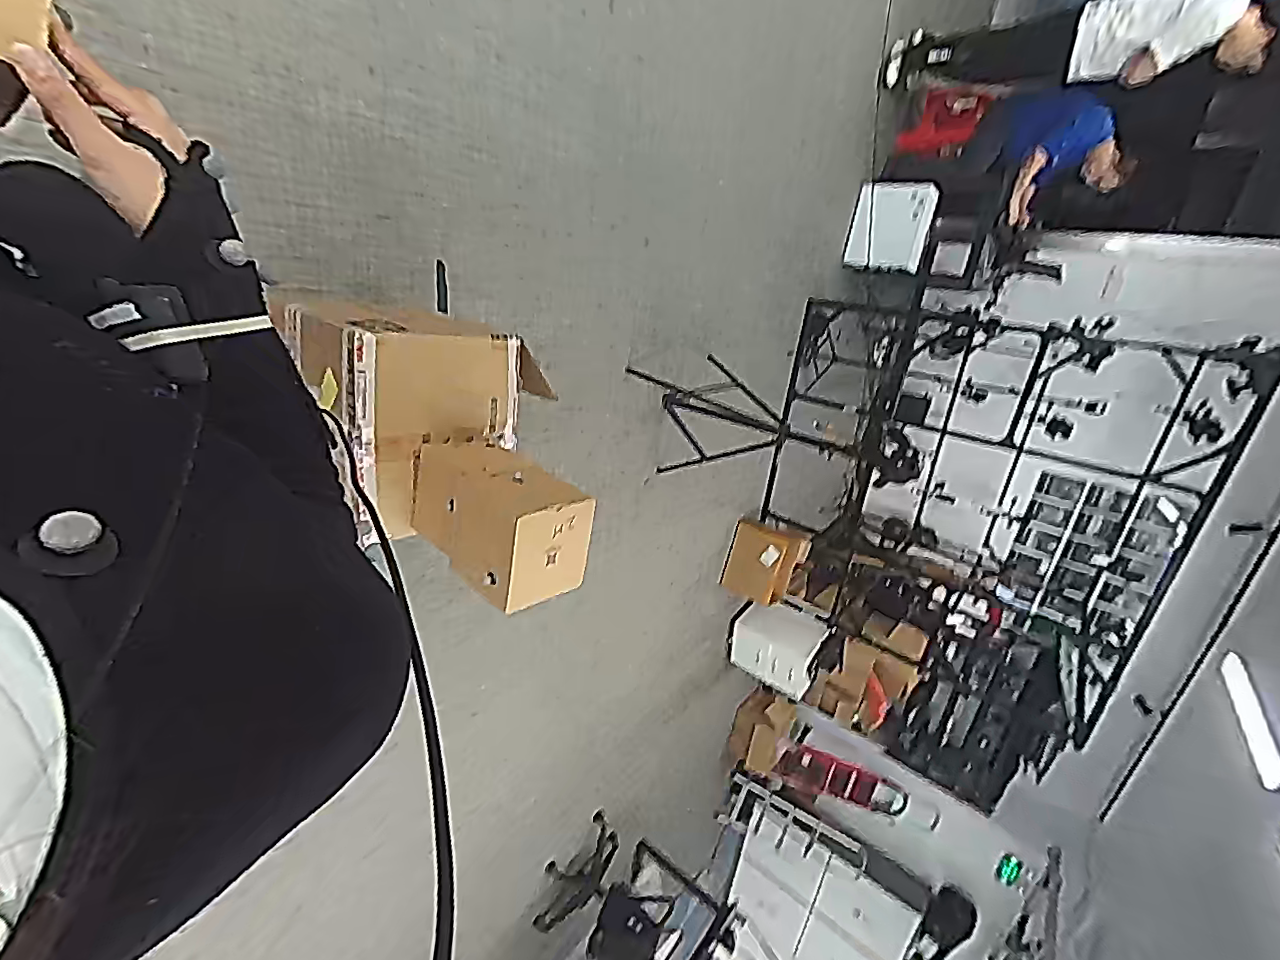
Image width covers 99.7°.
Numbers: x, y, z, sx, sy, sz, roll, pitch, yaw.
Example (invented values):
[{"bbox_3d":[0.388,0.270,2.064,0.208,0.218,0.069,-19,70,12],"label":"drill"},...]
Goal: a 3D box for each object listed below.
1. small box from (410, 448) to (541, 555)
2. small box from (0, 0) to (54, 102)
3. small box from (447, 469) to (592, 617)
[{"bbox_3d":[-0.316,0.041,1.030,0.168,0.176,0.179,-7,116,-50],"label":"small box"},{"bbox_3d":[-0.426,-0.321,0.266,0.179,0.176,0.168,5,98,-54],"label":"small box"},{"bbox_3d":[-0.209,0.097,0.916,0.168,0.176,0.179,-11,119,-49],"label":"small box"}]
